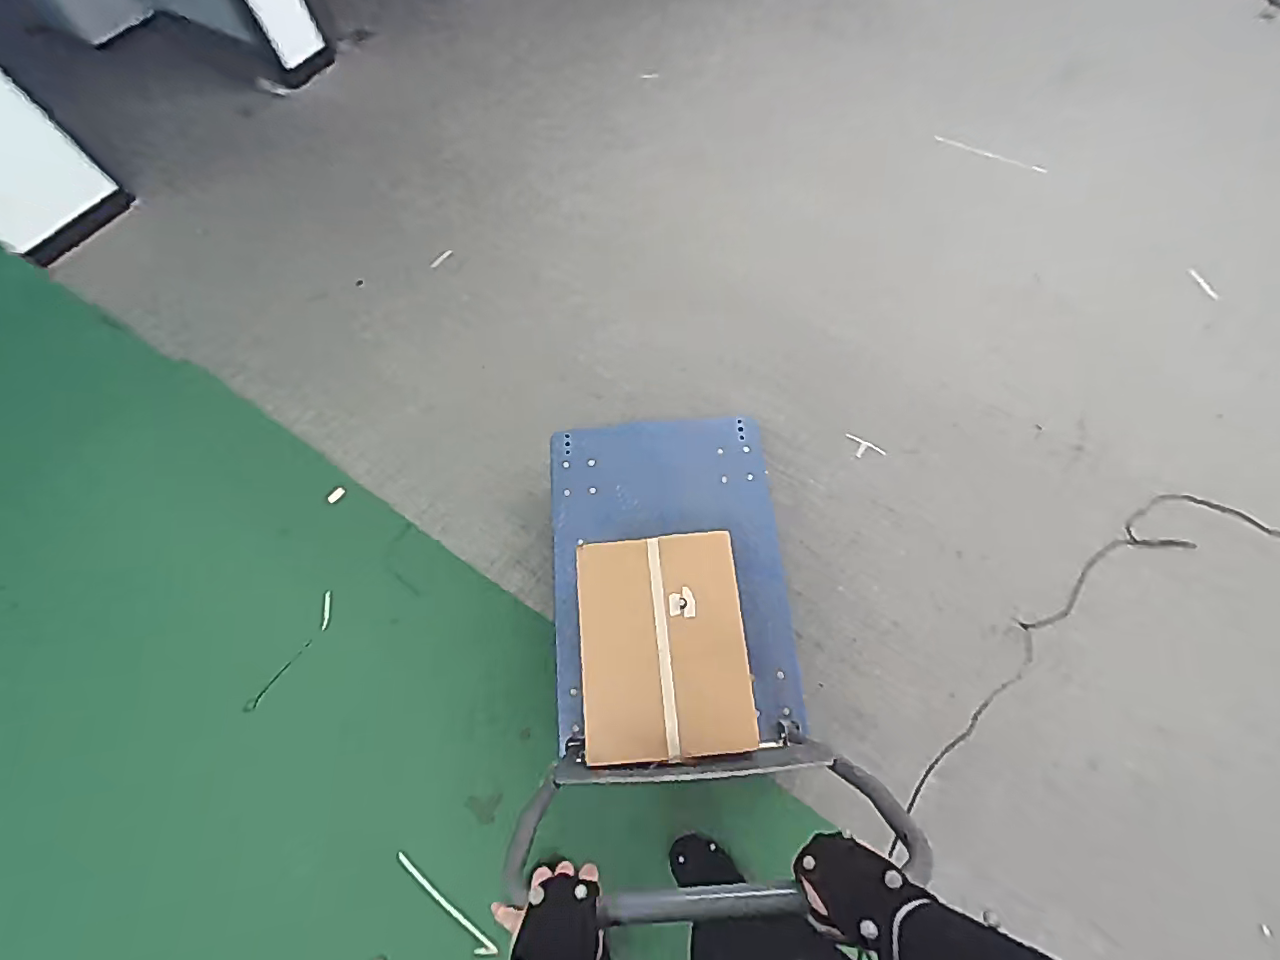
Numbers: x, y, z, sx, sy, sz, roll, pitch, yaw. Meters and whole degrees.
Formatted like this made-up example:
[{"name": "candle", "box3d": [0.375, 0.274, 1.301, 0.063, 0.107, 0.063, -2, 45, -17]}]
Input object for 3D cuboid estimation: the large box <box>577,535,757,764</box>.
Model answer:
[{"name": "large box", "box3d": [0.048, 0.366, 1.182, 0.320, 0.320, 0.408, -5, 69, 0]}]
